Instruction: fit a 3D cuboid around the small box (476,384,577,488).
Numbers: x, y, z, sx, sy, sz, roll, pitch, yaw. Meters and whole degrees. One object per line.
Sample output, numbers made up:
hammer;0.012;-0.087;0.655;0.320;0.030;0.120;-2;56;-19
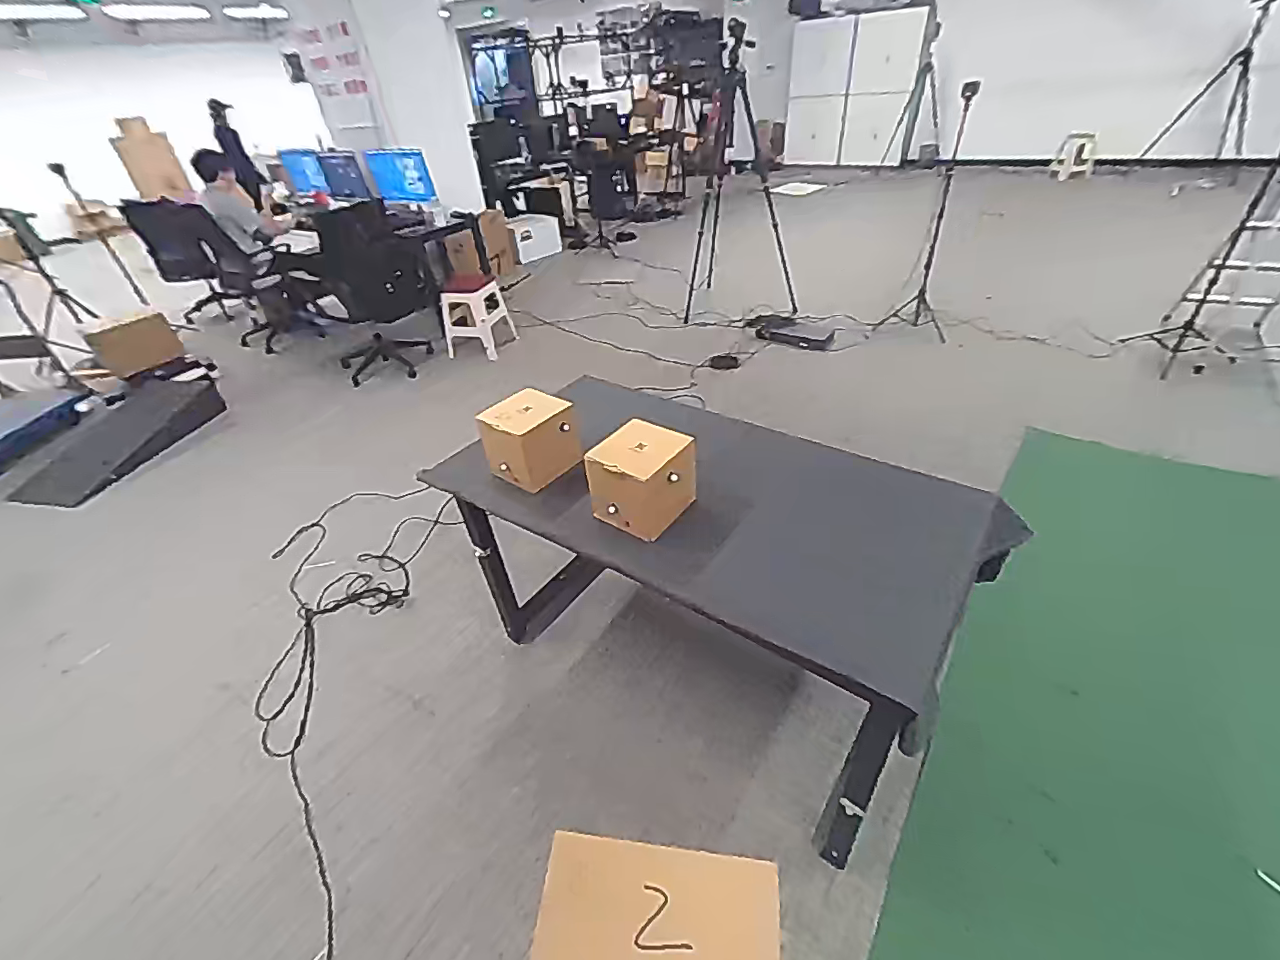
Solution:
small box;-0.271;-0.111;1.331;0.168;0.176;0.179;24;45;32

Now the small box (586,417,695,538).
small box;0.004;-0.008;1.175;0.168;0.176;0.179;23;45;31
